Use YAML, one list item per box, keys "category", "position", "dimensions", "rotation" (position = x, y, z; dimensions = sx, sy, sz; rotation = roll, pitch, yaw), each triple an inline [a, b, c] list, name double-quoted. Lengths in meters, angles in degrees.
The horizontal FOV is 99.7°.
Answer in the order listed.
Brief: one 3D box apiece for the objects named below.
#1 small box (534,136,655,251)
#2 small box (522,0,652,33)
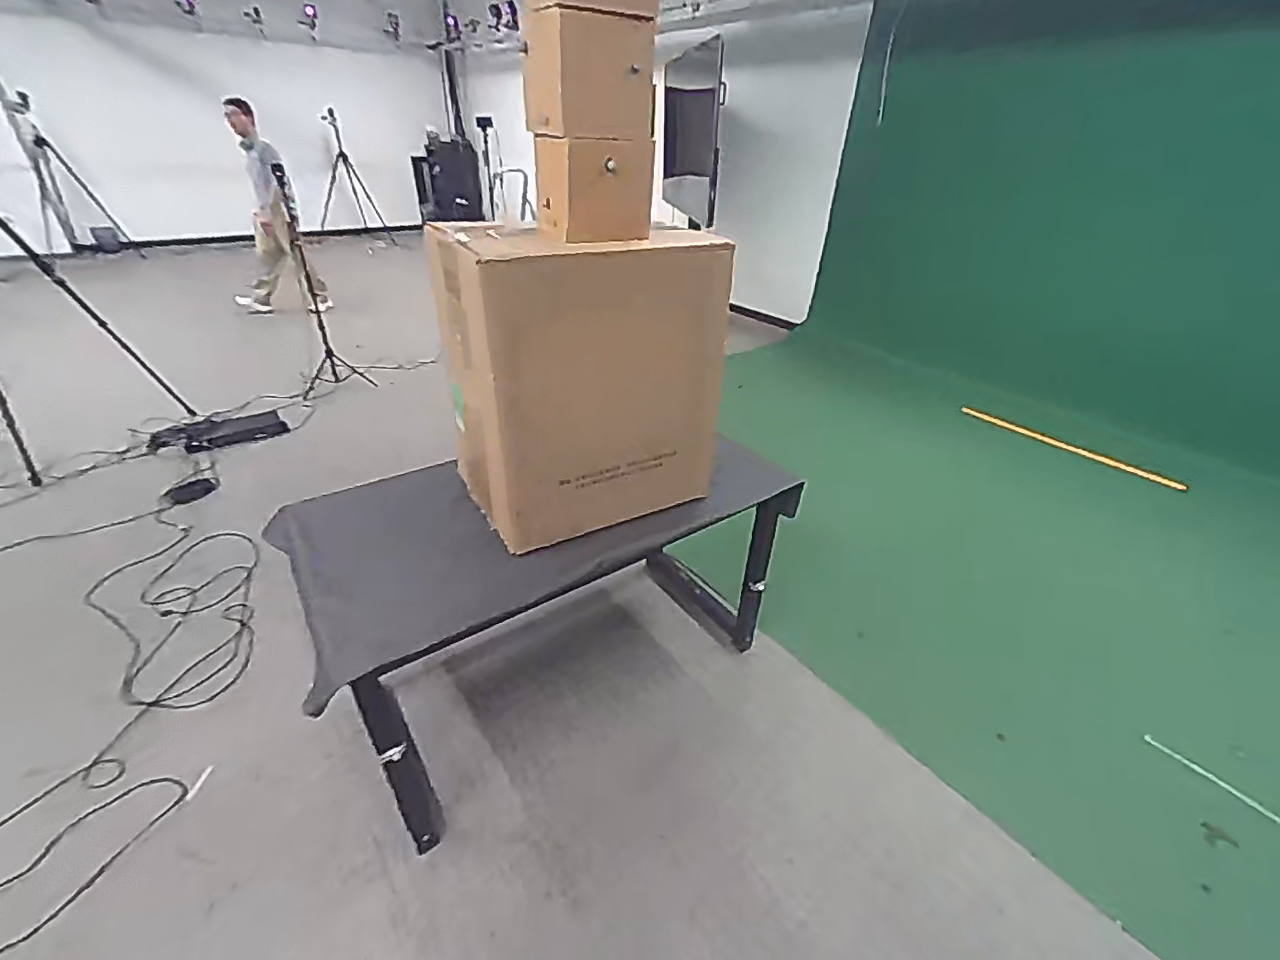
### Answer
- category: "small box"
  position: [-0.091, -0.544, 1.027]
  dimensions: [0.179, 0.176, 0.168]
  rotation: [-16, 39, -25]
- category: "small box"
  position: [-0.082, -0.815, 0.841]
  dimensions: [0.179, 0.176, 0.168]
  rotation: [-15, 38, -25]
